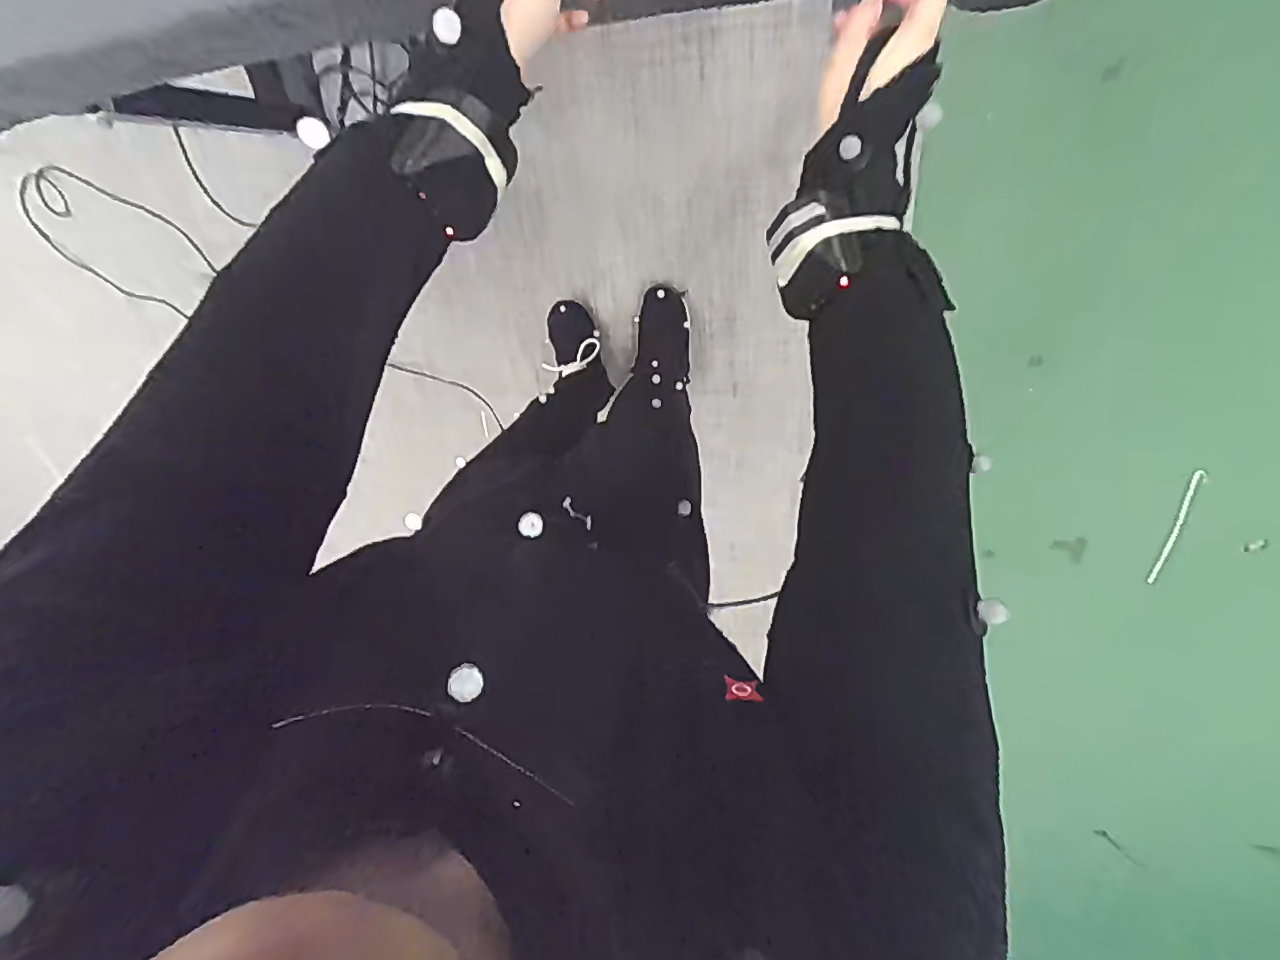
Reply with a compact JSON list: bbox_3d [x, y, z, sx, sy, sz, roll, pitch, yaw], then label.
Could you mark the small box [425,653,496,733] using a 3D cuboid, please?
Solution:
[{"bbox_3d":[-0.604,0.711,1.823,0.179,0.176,0.168,13,121,2],"label":"small box"}]
